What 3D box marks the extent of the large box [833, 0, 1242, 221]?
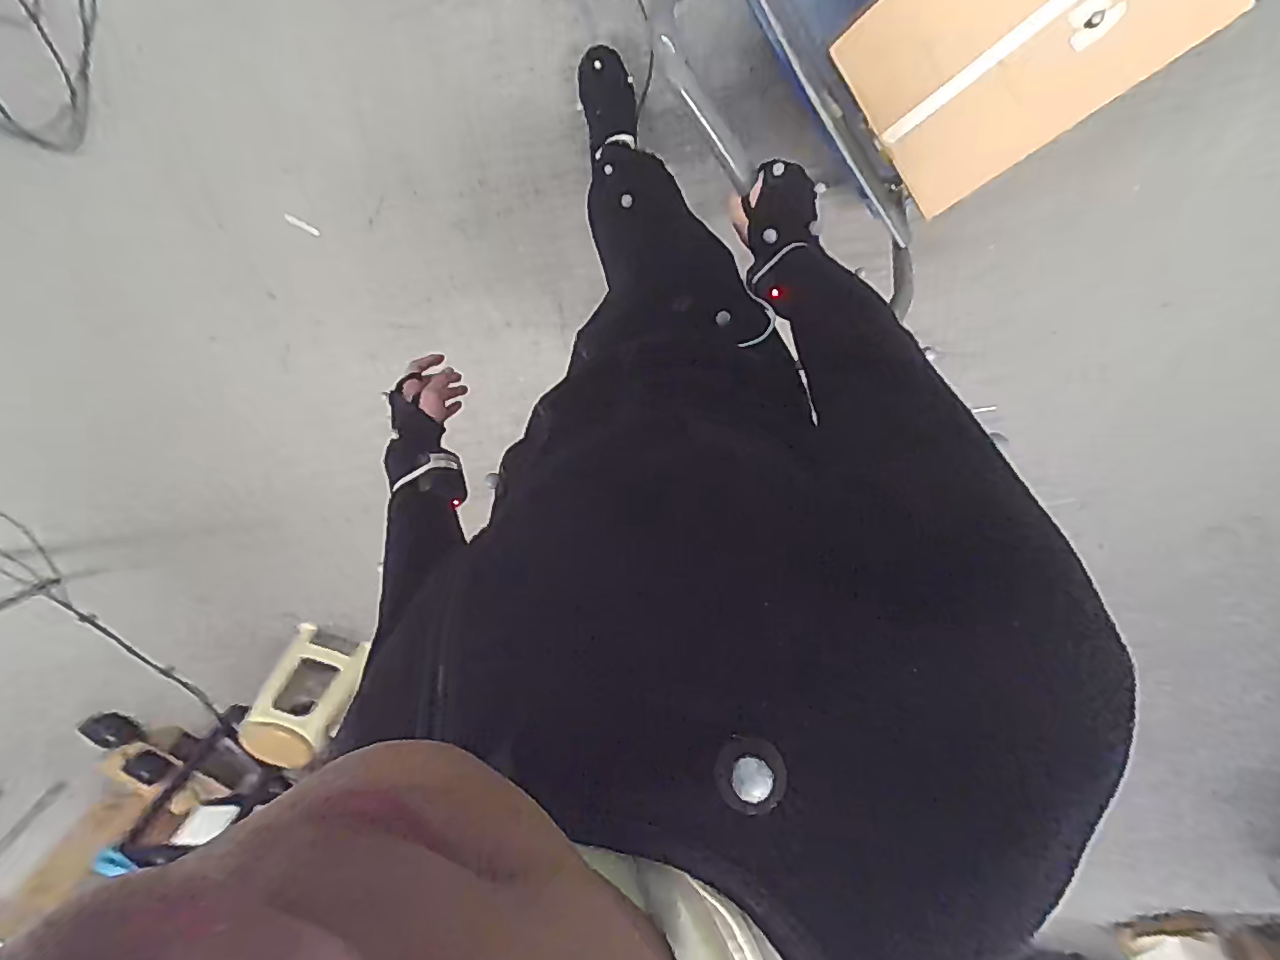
[{"bbox_3d":[0.568,-0.708,0.861,0.408,0.320,0.320,-28,116,36],"label":"large box"}]
